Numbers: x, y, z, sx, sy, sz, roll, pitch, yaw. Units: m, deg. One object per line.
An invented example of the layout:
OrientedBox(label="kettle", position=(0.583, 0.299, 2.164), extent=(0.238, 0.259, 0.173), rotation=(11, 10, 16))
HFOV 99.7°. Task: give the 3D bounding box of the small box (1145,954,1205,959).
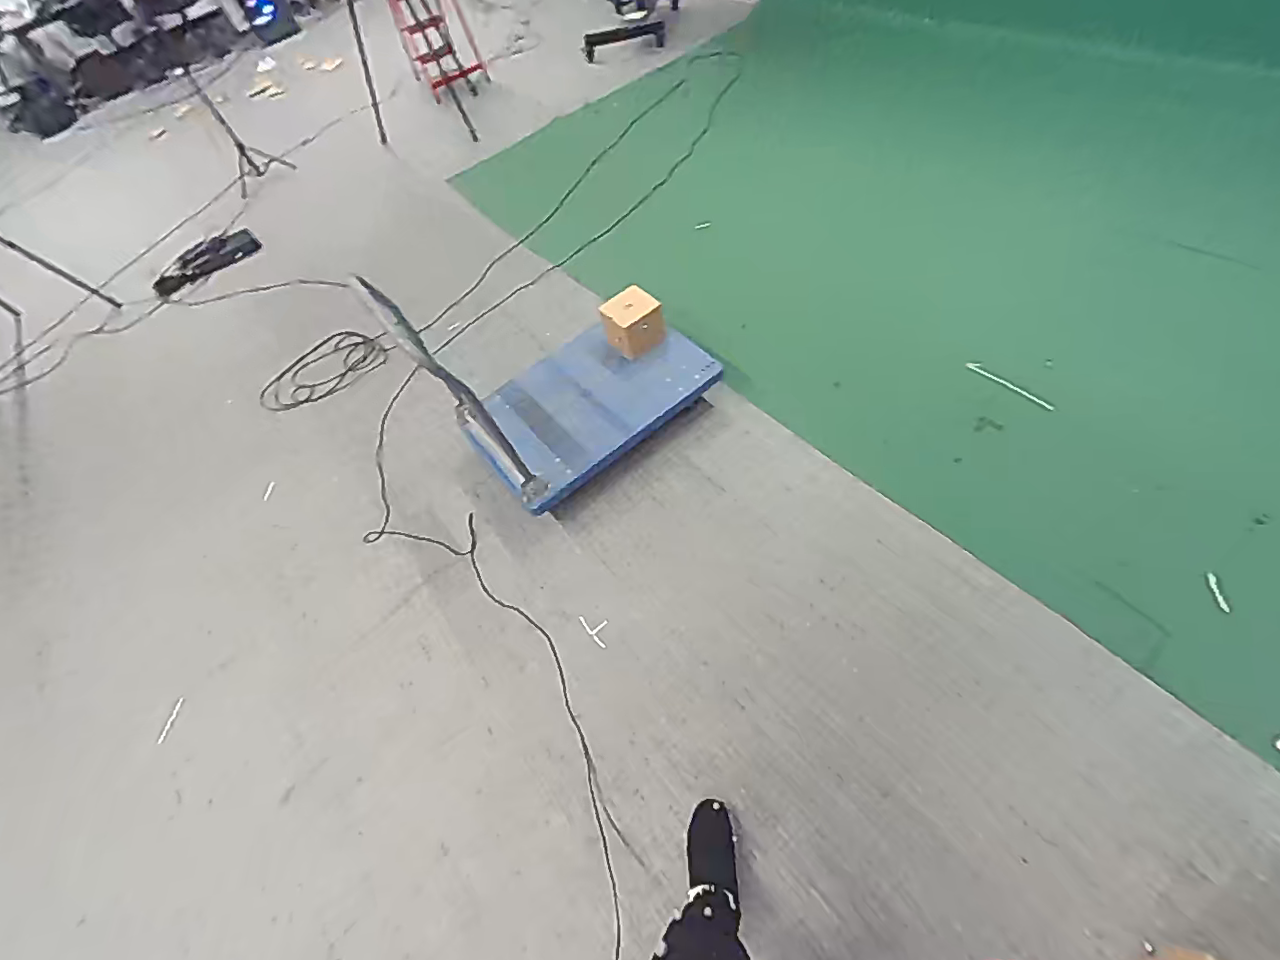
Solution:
OrientedBox(label="small box", position=(1.009, 1.003, 0.973), extent=(0.168, 0.176, 0.179), rotation=(-33, 57, -11))

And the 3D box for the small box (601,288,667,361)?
OrientedBox(label="small box", position=(-0.016, -0.582, 2.039), extent=(0.179, 0.176, 0.168), rotation=(-36, 58, -13))
